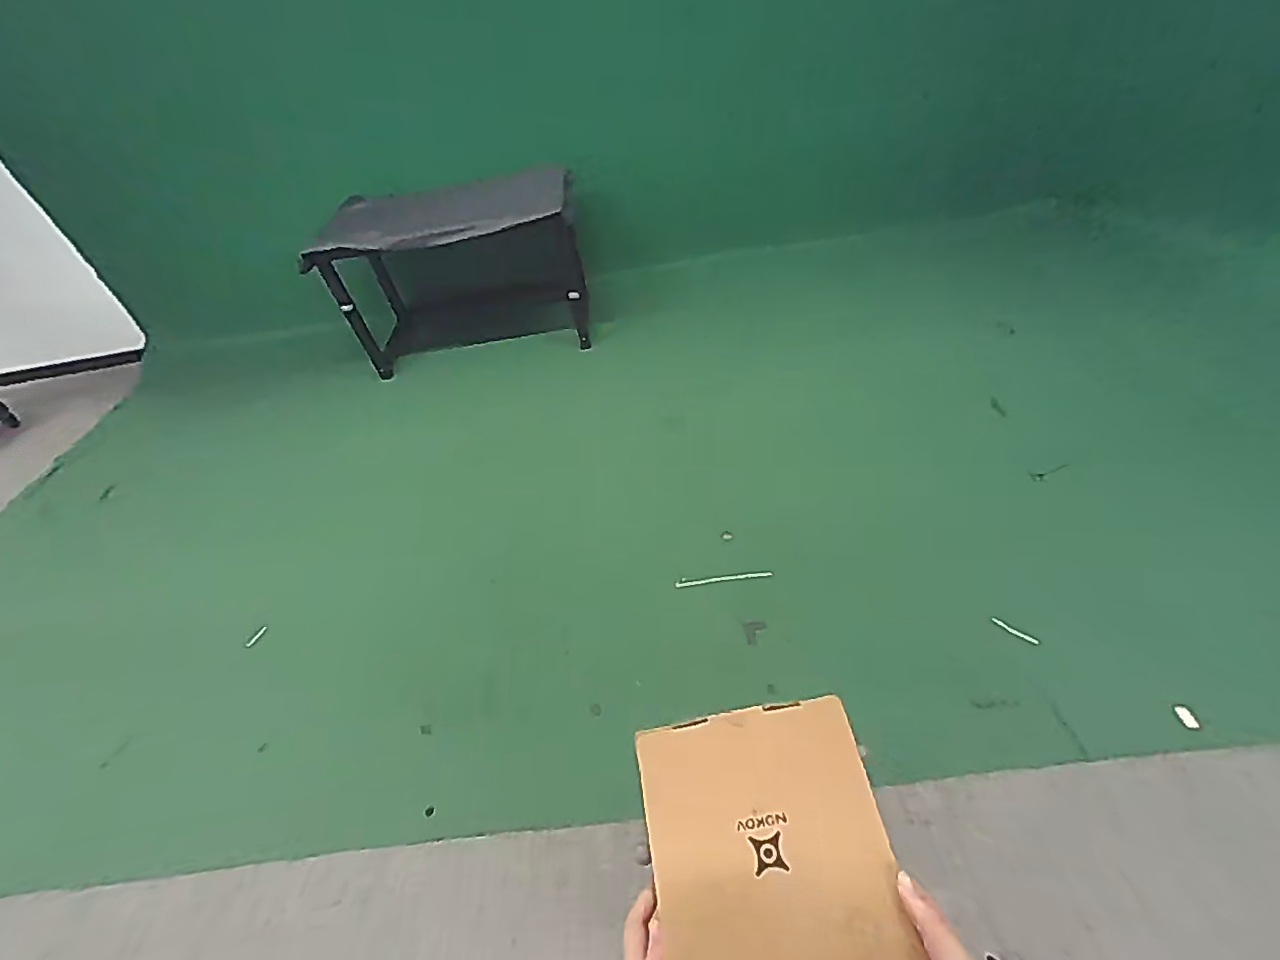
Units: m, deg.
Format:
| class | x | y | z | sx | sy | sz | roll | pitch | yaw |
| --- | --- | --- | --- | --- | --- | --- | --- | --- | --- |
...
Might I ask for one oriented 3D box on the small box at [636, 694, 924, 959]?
| class | x | y | z | sx | sy | sz | roll | pitch | yaw |
| --- | --- | --- | --- | --- | --- | --- | --- | --- | --- |
| small box | 0.098 | 0.295 | 0.444 | 0.168 | 0.176 | 0.179 | -11 | 55 | 2 |
